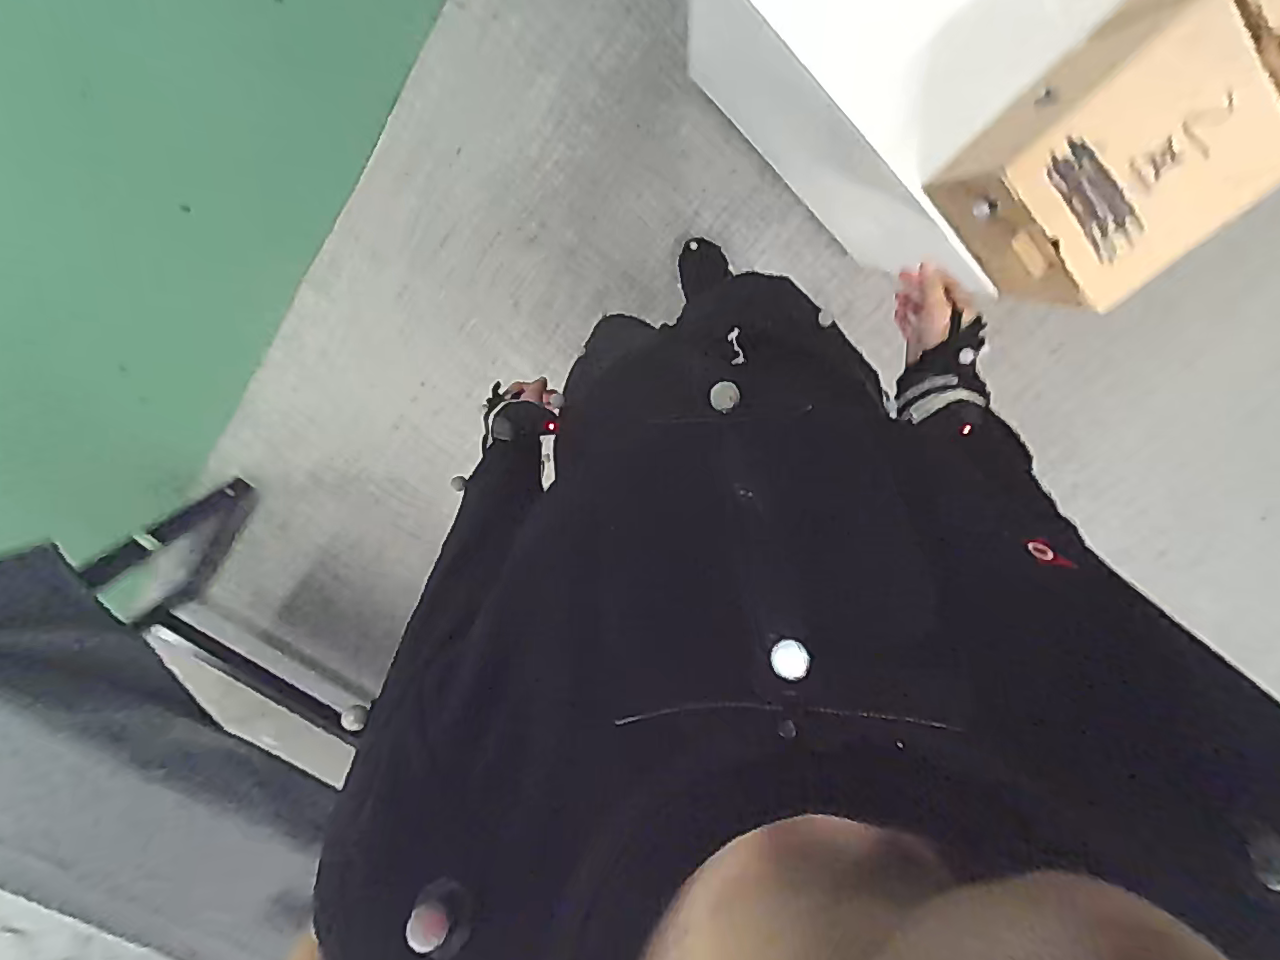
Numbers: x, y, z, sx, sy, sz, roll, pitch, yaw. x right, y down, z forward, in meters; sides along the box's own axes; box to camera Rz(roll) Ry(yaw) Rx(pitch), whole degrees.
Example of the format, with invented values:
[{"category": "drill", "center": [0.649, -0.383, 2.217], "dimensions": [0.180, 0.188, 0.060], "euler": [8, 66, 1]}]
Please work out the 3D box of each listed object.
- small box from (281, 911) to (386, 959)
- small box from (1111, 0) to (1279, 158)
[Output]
[{"category": "small box", "center": [-0.631, 0.994, 1.051], "dimensions": [0.168, 0.176, 0.179], "euler": [35, 112, -11]}, {"category": "small box", "center": [0.556, -0.406, 0.453], "dimensions": [0.168, 0.176, 0.179], "euler": [40, 111, -14]}]
